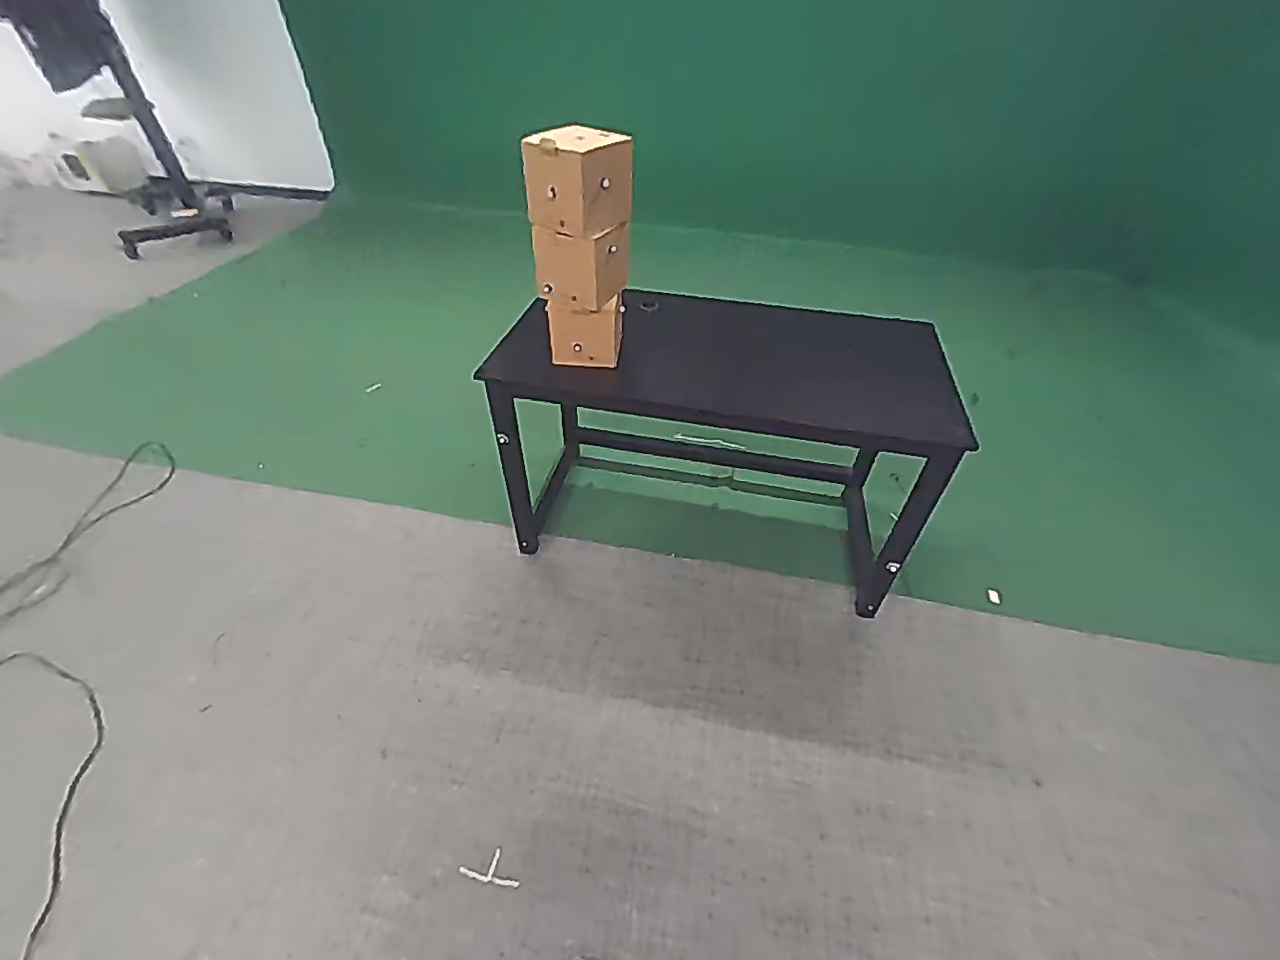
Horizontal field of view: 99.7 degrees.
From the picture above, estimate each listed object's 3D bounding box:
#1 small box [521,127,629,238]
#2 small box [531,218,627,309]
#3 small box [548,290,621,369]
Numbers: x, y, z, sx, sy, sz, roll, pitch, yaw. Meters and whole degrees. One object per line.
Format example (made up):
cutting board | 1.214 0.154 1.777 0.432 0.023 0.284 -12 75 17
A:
small box | -0.136 -0.658 1.199 0.168 0.176 0.179 28 51 23
small box | -0.139 -0.534 1.307 0.168 0.176 0.179 19 46 17
small box | -0.140 -0.415 1.419 0.168 0.176 0.179 4 44 1
